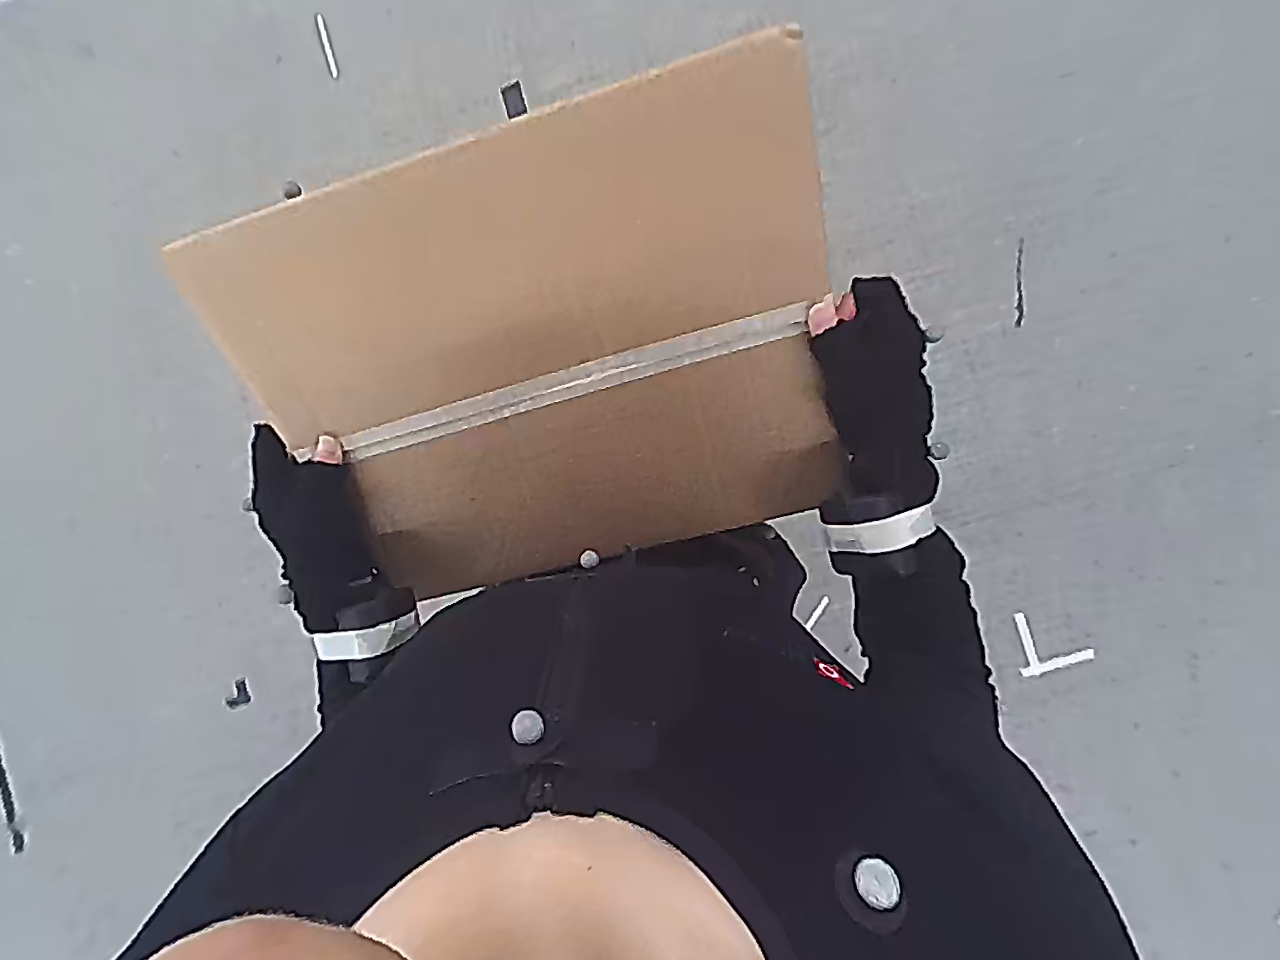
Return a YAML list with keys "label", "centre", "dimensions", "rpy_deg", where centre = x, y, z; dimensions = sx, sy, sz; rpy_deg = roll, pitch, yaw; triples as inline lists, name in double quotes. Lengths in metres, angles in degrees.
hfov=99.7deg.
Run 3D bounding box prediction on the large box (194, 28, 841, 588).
- label: "large box"
  centre: [-0.068, -0.149, 0.527]
  dimensions: [0.408, 0.320, 0.320]
  rpy_deg: [-14, 120, 8]
